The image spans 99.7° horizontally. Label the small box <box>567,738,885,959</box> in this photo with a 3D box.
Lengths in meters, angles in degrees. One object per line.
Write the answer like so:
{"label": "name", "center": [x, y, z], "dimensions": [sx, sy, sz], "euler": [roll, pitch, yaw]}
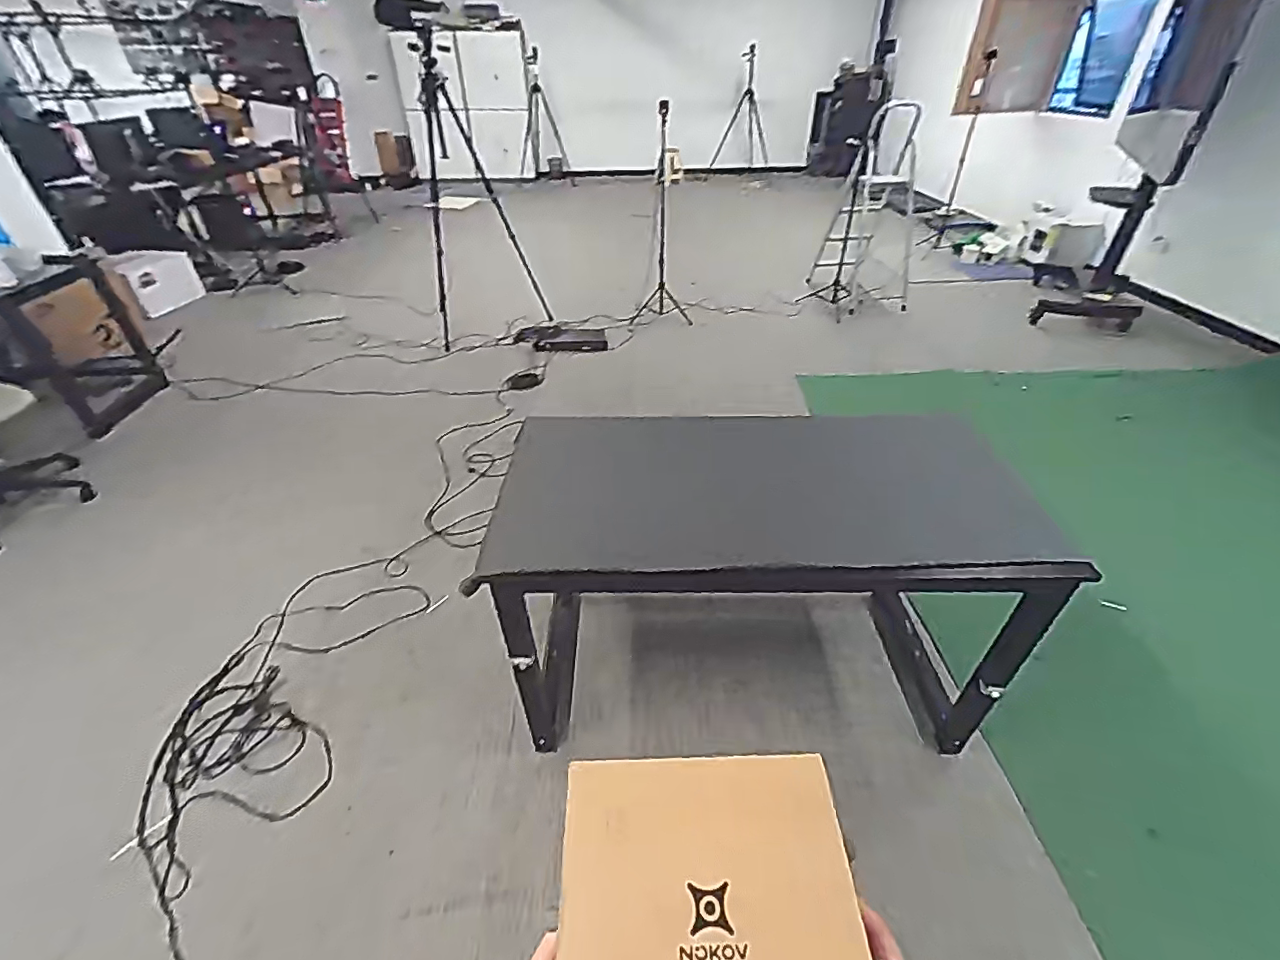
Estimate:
{"label": "small box", "center": [0.045, 0.288, 0.347], "dimensions": [0.168, 0.176, 0.179], "euler": [-2, 44, 1]}
